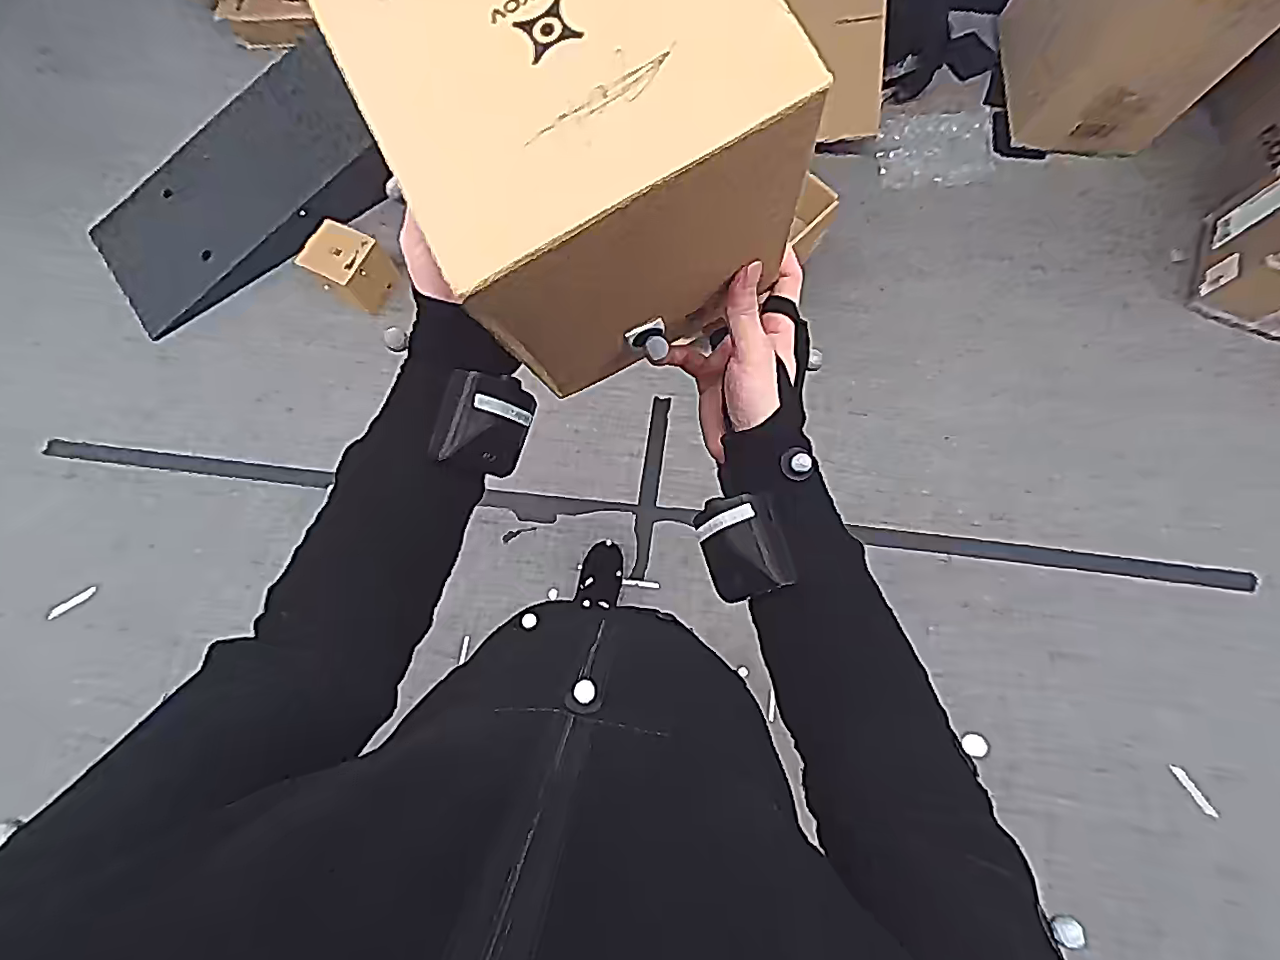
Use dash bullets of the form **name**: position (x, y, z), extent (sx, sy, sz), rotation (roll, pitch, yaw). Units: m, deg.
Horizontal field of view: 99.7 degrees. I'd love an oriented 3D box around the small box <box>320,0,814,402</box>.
- **small box**: position (-0.030, -0.170, 0.310), extent (0.168, 0.176, 0.179), rotation (-27, 81, 3)
